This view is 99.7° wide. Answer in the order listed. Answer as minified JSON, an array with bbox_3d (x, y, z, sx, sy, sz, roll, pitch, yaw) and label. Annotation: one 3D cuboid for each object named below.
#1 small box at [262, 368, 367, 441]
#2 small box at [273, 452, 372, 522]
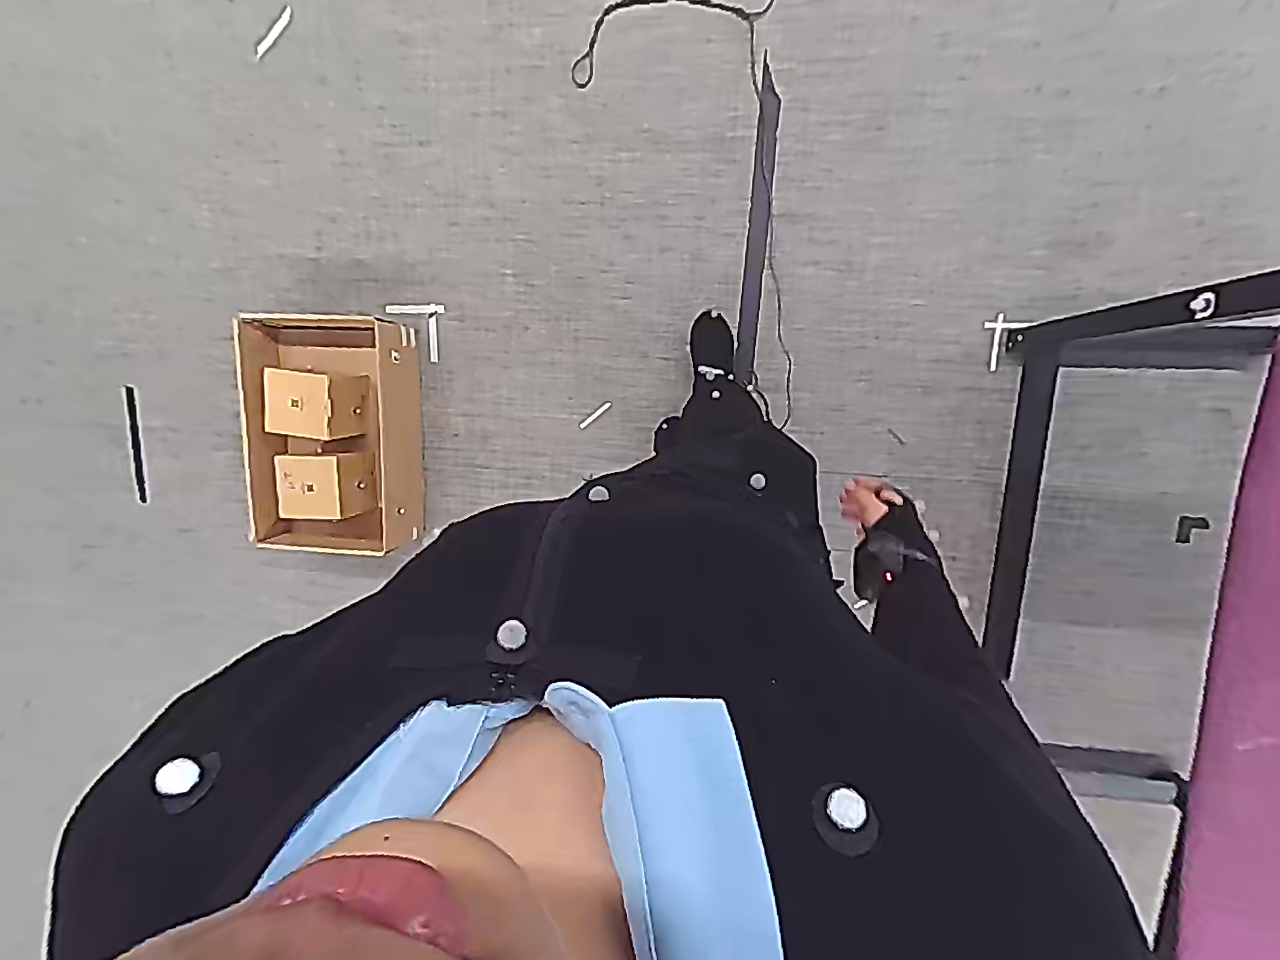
[{"bbox_3d":[-0.861,-0.202,1.438,0.179,0.176,0.168,8,100,5],"label":"small box"},{"bbox_3d":[-0.850,0.013,1.468,0.179,0.176,0.168,1,97,7],"label":"small box"}]
